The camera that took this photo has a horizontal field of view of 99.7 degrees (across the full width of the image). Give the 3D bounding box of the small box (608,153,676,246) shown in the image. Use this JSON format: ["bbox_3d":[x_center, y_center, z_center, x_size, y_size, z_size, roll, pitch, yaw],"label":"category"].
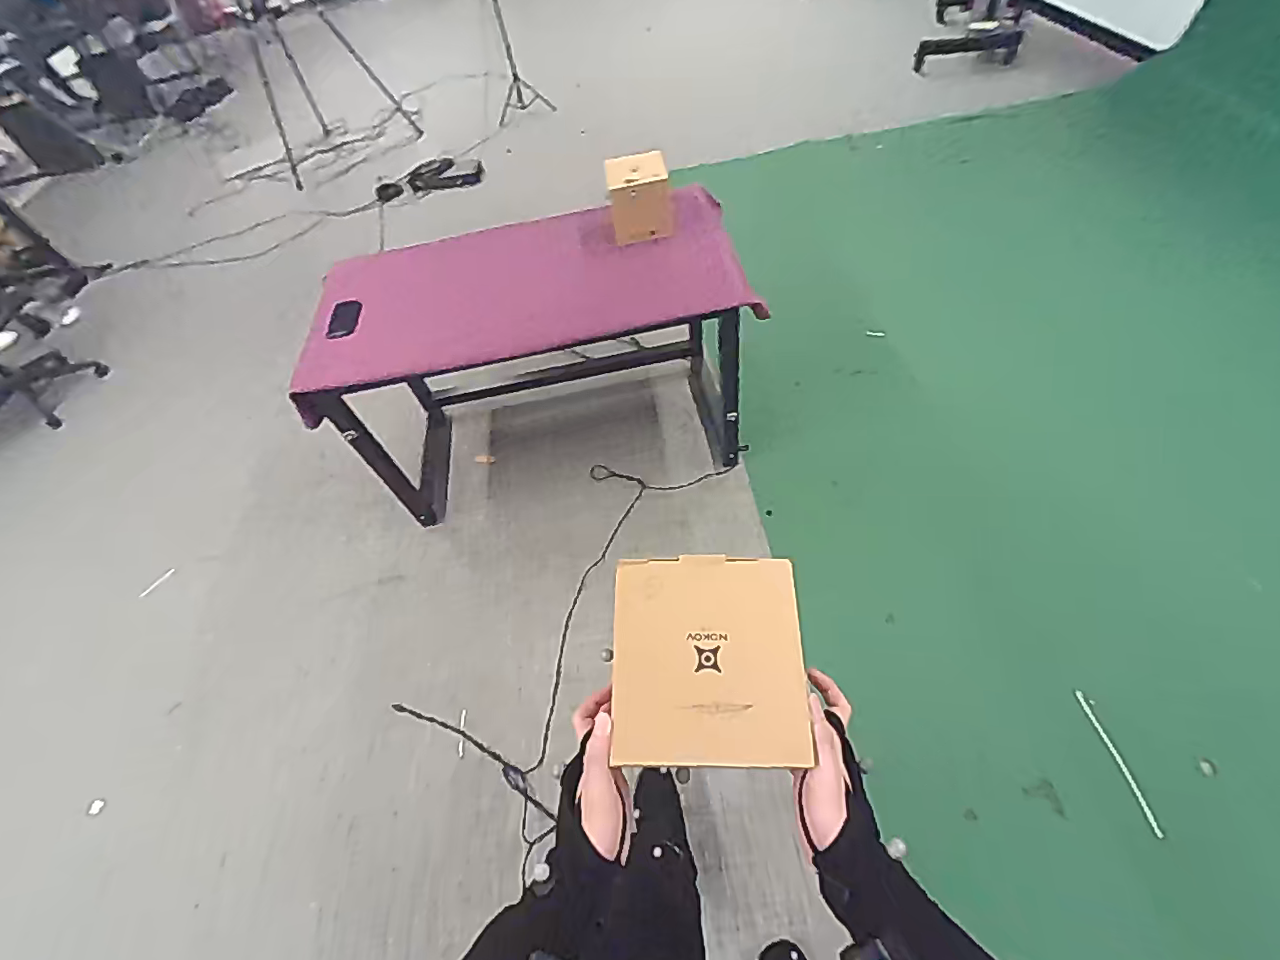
[{"bbox_3d":[0.006,-0.811,1.566,0.168,0.176,0.179,-10,53,3],"label":"small box"}]

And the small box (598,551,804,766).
[{"bbox_3d":[0.052,0.180,0.533,0.168,0.176,0.179,0,64,3],"label":"small box"}]
